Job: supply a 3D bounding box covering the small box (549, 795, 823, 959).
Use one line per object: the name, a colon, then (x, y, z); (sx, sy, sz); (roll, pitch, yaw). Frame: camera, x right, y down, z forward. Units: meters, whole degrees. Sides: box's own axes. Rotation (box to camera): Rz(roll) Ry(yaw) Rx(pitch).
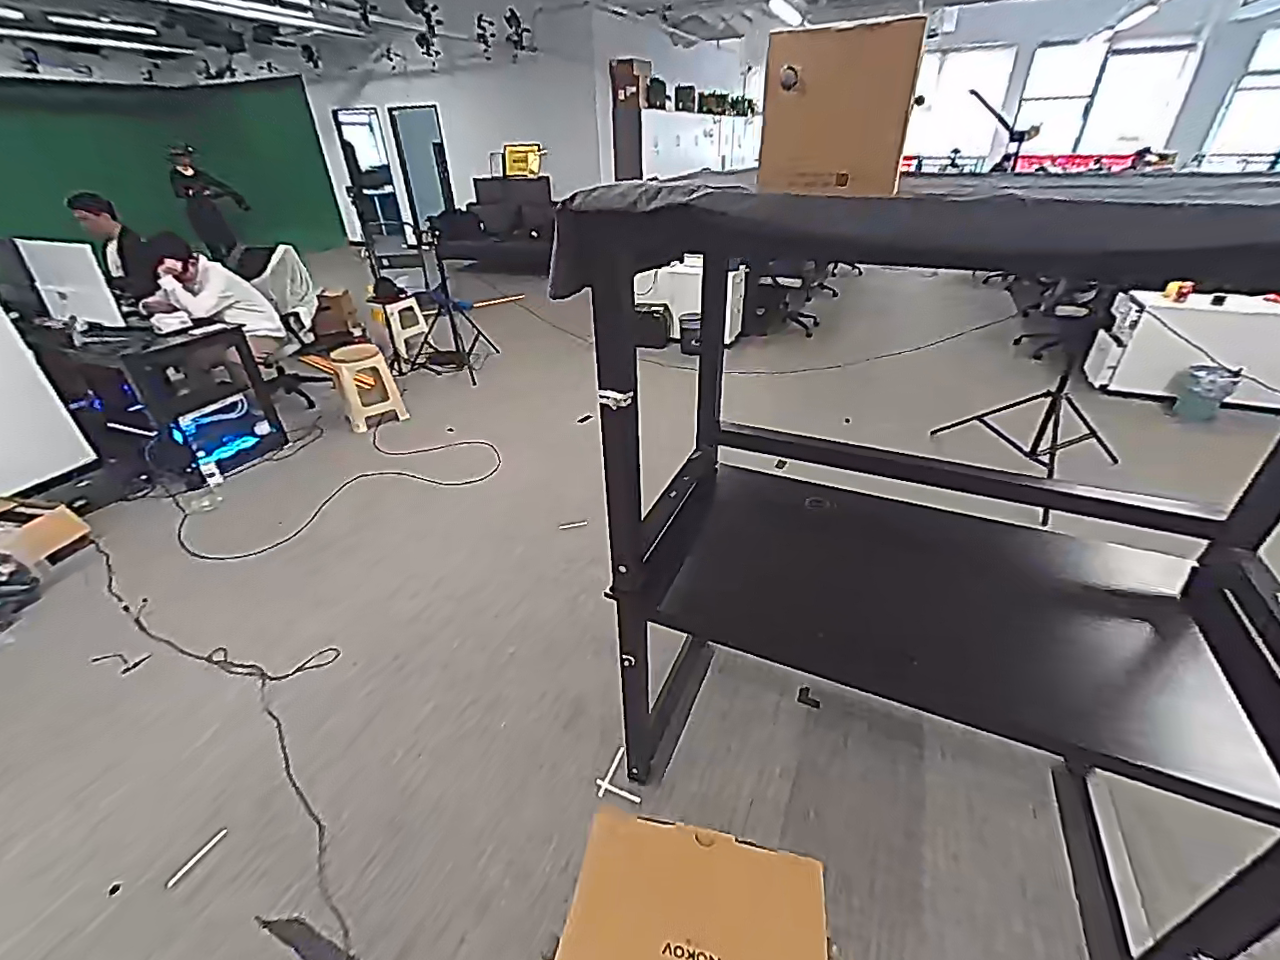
small box: (0.027, 0.361, 0.367); (0.168, 0.176, 0.179); (7, 32, 10)
